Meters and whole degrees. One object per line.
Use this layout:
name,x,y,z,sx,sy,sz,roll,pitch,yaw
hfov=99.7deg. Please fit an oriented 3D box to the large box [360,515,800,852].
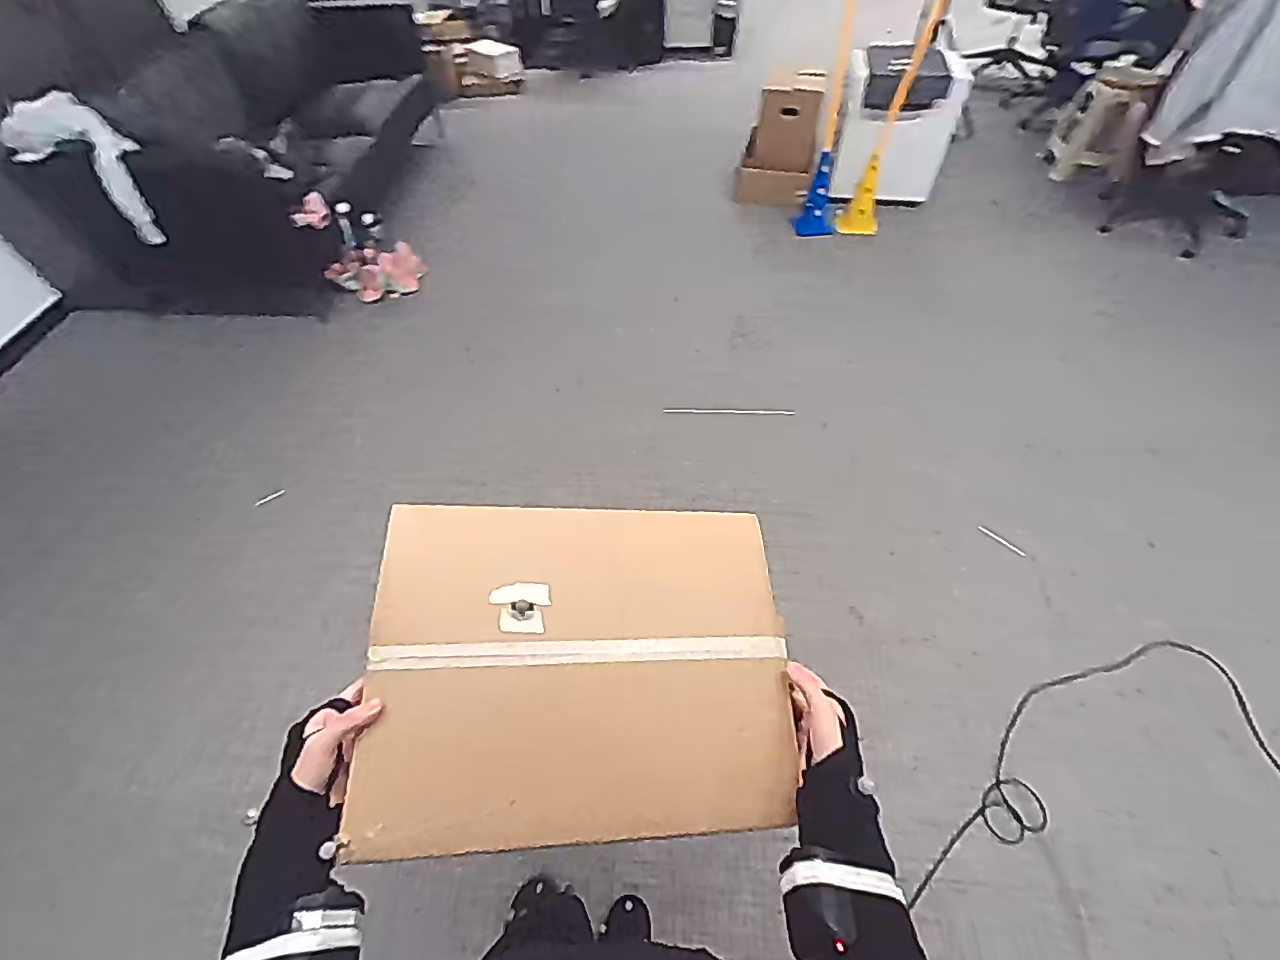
large box,-0.069,0.247,0.681,0.408,0.320,0.320,3,62,-9
